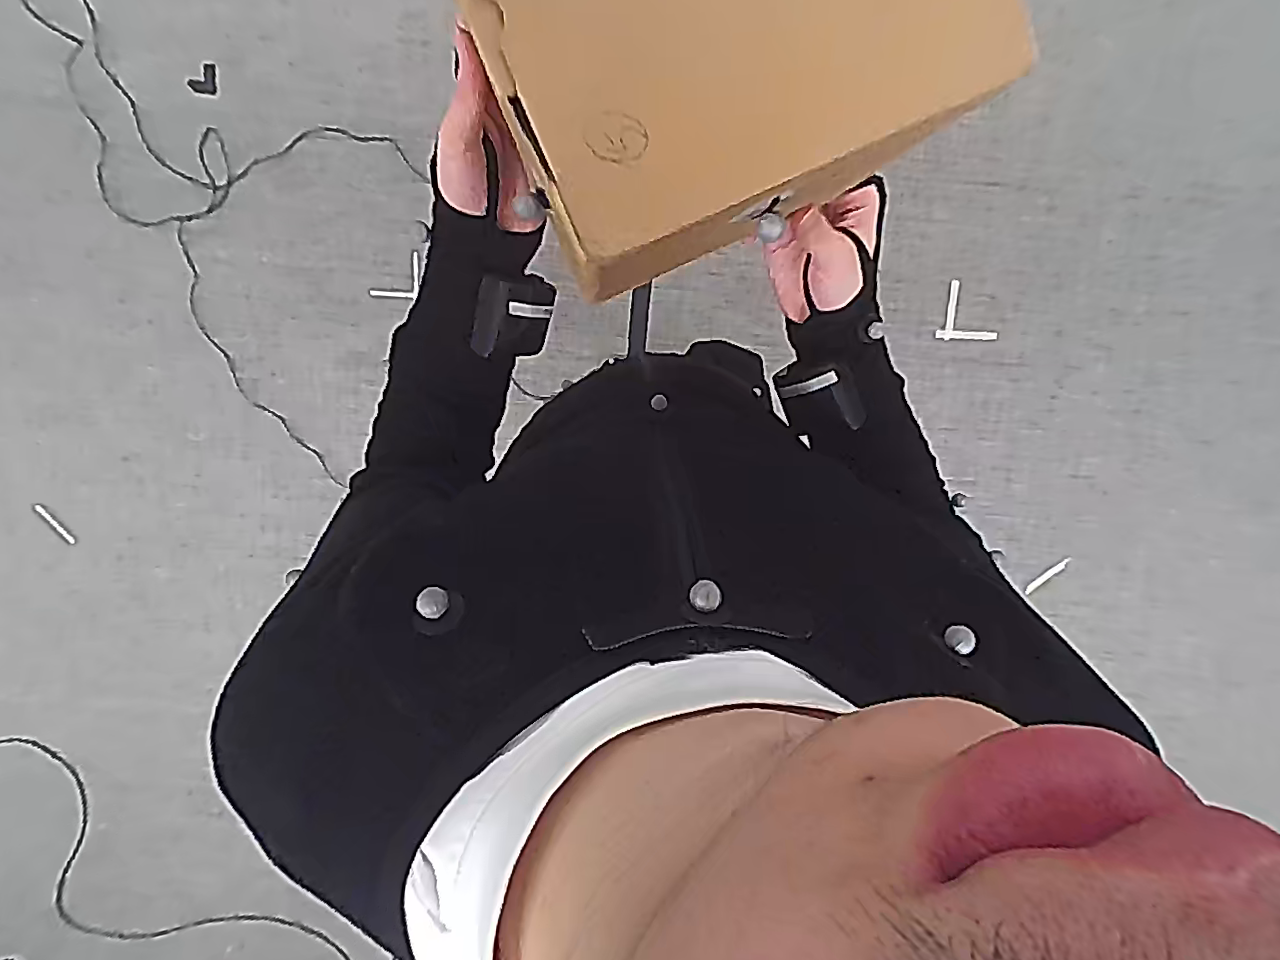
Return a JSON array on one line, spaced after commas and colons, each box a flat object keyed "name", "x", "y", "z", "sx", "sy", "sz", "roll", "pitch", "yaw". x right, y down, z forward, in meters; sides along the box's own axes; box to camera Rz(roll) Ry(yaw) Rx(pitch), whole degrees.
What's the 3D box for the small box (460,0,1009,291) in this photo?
[{"name": "small box", "x": 0.020, "y": -0.207, "z": 0.261, "sx": 0.179, "sy": 0.176, "sz": 0.168, "roll": -26, "pitch": 105, "yaw": 2}]
